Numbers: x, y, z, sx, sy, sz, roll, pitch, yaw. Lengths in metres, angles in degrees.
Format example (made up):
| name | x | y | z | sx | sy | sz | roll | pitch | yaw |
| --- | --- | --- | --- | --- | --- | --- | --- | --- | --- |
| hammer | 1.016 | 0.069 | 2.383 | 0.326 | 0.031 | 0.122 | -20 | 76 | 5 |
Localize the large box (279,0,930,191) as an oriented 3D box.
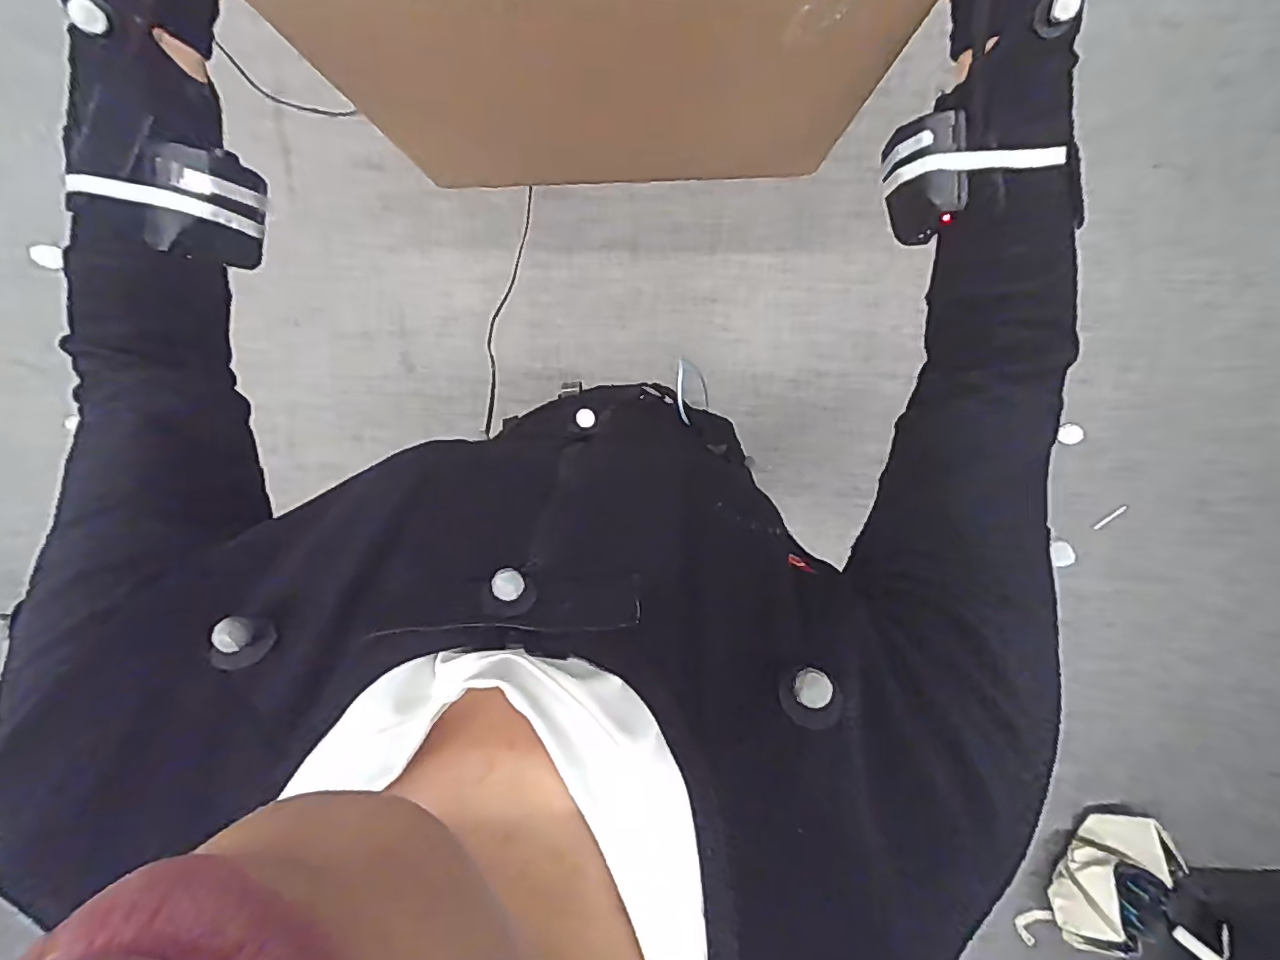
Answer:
| name | x | y | z | sx | sy | sz | roll | pitch | yaw |
| --- | --- | --- | --- | --- | --- | --- | --- | --- | --- |
| large box | -0.021 | -0.448 | 0.412 | 0.408 | 0.320 | 0.320 | -2 | 99 | 1 |
